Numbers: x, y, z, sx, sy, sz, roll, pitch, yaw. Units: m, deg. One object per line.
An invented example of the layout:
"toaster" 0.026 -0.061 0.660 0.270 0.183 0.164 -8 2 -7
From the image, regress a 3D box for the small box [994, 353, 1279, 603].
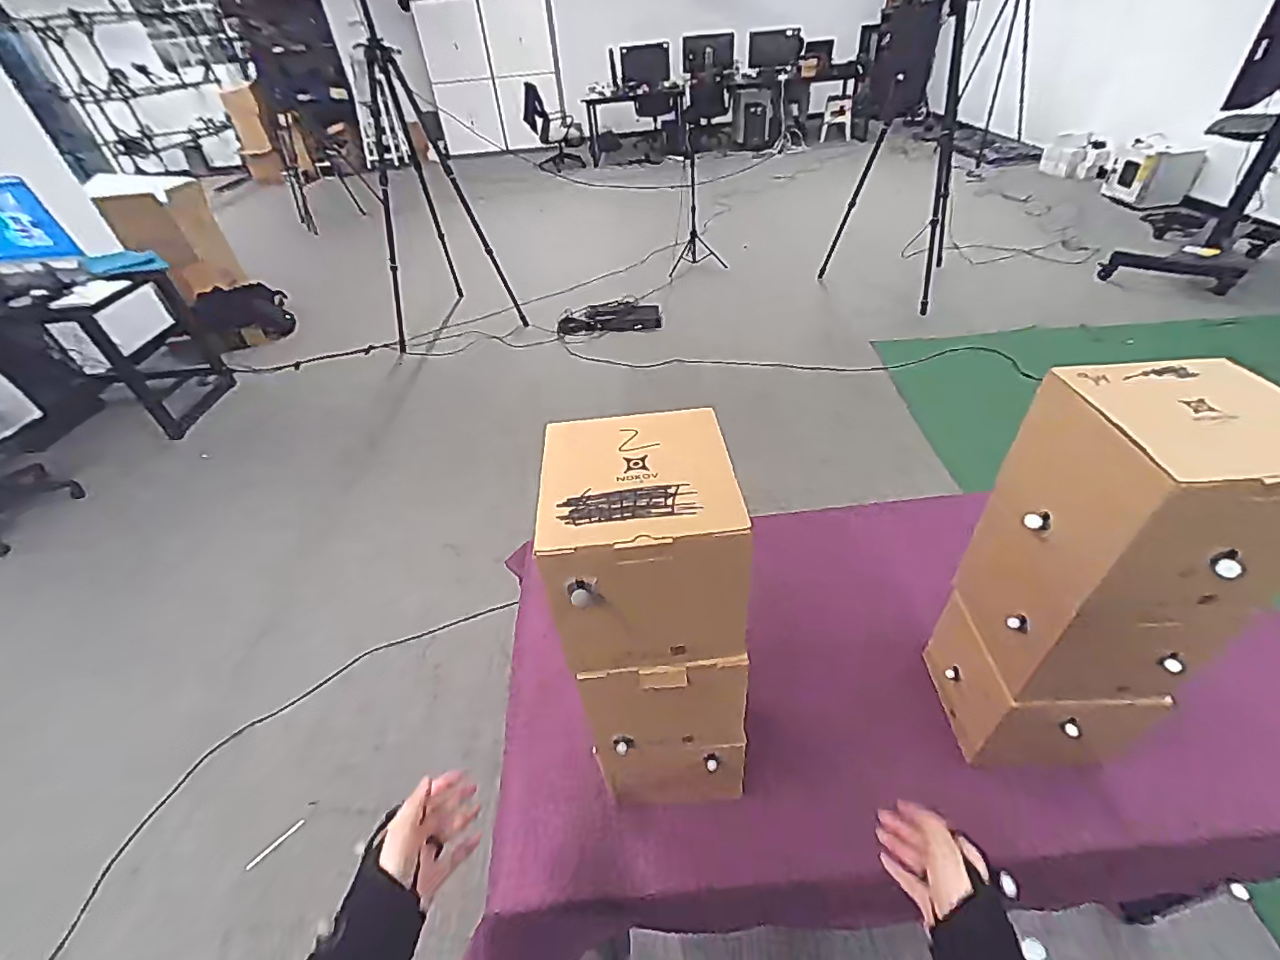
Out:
"small box" 0.478 0.002 0.508 0.168 0.176 0.179 -3 41 4

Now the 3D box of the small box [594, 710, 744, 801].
"small box" 0.039 0.310 0.725 0.179 0.176 0.168 -5 40 2

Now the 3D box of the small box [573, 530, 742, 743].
"small box" 0.022 0.183 0.622 0.168 0.176 0.179 -5 39 1

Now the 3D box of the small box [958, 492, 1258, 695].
"small box" 0.497 0.127 0.615 0.168 0.176 0.179 -2 40 5

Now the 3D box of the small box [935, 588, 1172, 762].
"small box" 0.514 0.255 0.713 0.179 0.176 0.168 -3 41 6
